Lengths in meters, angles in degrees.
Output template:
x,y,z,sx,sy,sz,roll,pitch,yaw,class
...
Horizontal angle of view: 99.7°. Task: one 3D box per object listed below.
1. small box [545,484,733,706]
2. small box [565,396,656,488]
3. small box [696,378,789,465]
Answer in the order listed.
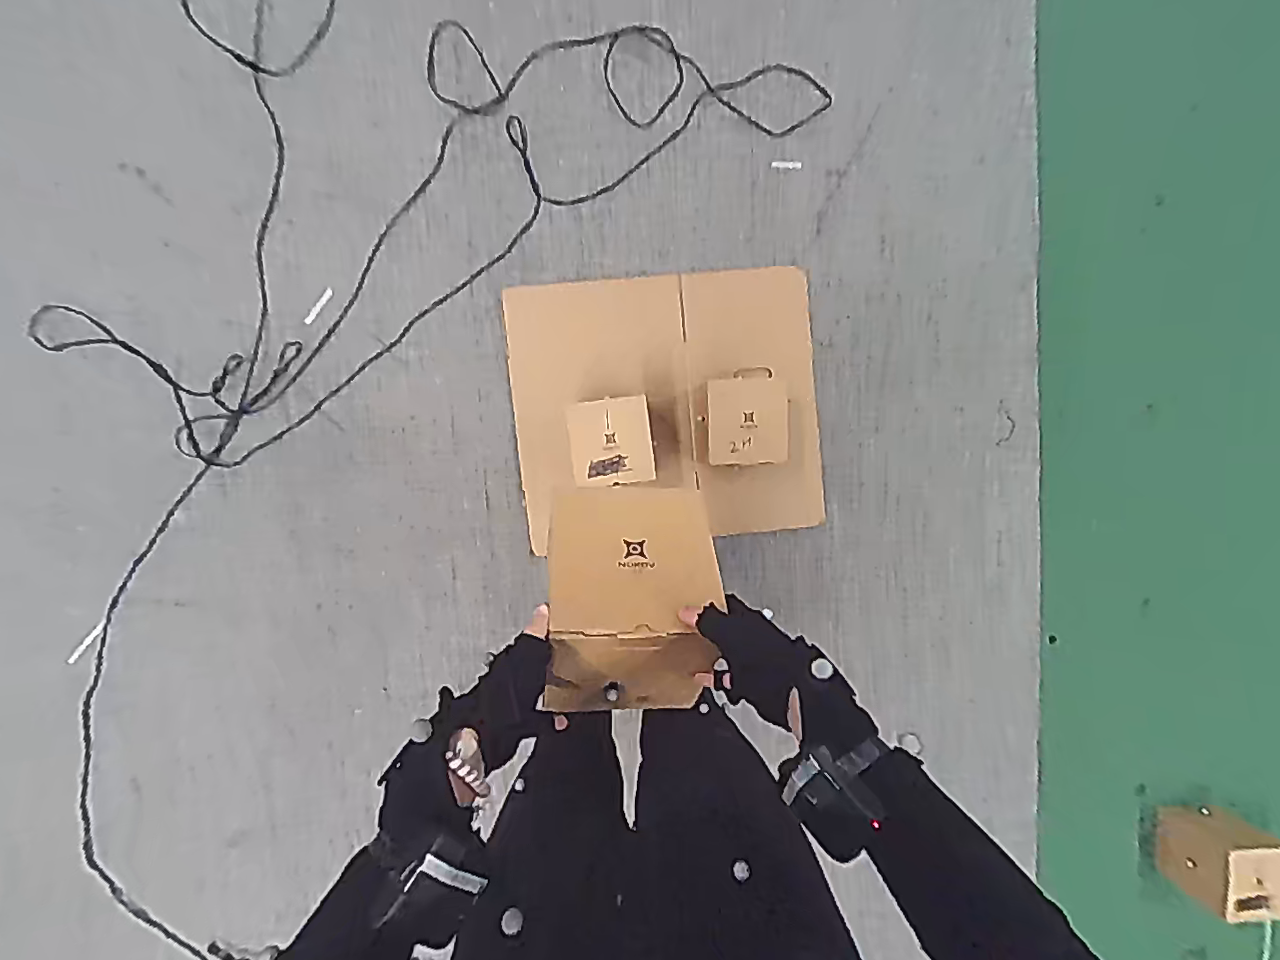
x,y,z,sx,sy,sz,roll,pitch,yaw,class
-0.015,0.127,0.589,0.168,0.179,0.176,3,137,-10,small box
-0.061,-0.079,1.151,0.168,0.176,0.179,-8,94,-3,small box
0.214,-0.123,1.170,0.168,0.176,0.179,-1,95,-3,small box
